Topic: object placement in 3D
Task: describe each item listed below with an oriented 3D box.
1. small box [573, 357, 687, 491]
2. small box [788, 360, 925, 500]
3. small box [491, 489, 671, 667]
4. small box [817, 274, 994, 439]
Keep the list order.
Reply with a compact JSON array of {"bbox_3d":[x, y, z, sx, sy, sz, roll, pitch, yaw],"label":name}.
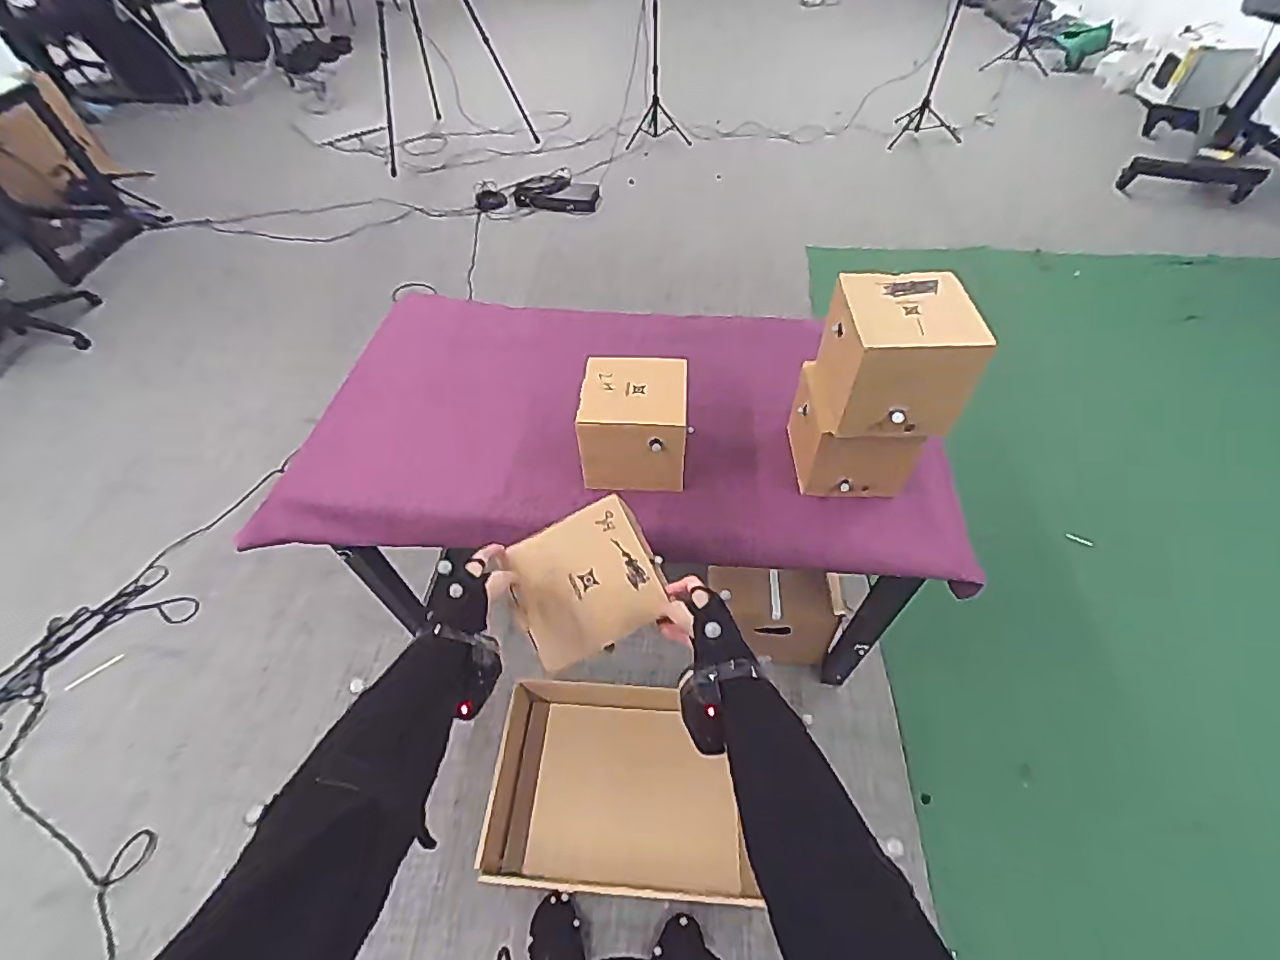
[{"bbox_3d":[-0.010,-0.094,0.944,0.179,0.176,0.168,2,50,4],"label":"small box"},{"bbox_3d":[0.356,-0.085,0.924,0.168,0.176,0.179,0,50,4],"label":"small box"},{"bbox_3d":[-0.069,0.133,0.742,0.179,0.176,0.168,-27,79,1],"label":"small box"},{"bbox_3d":[0.366,-0.180,0.789,0.168,0.176,0.179,0,50,4],"label":"small box"}]
